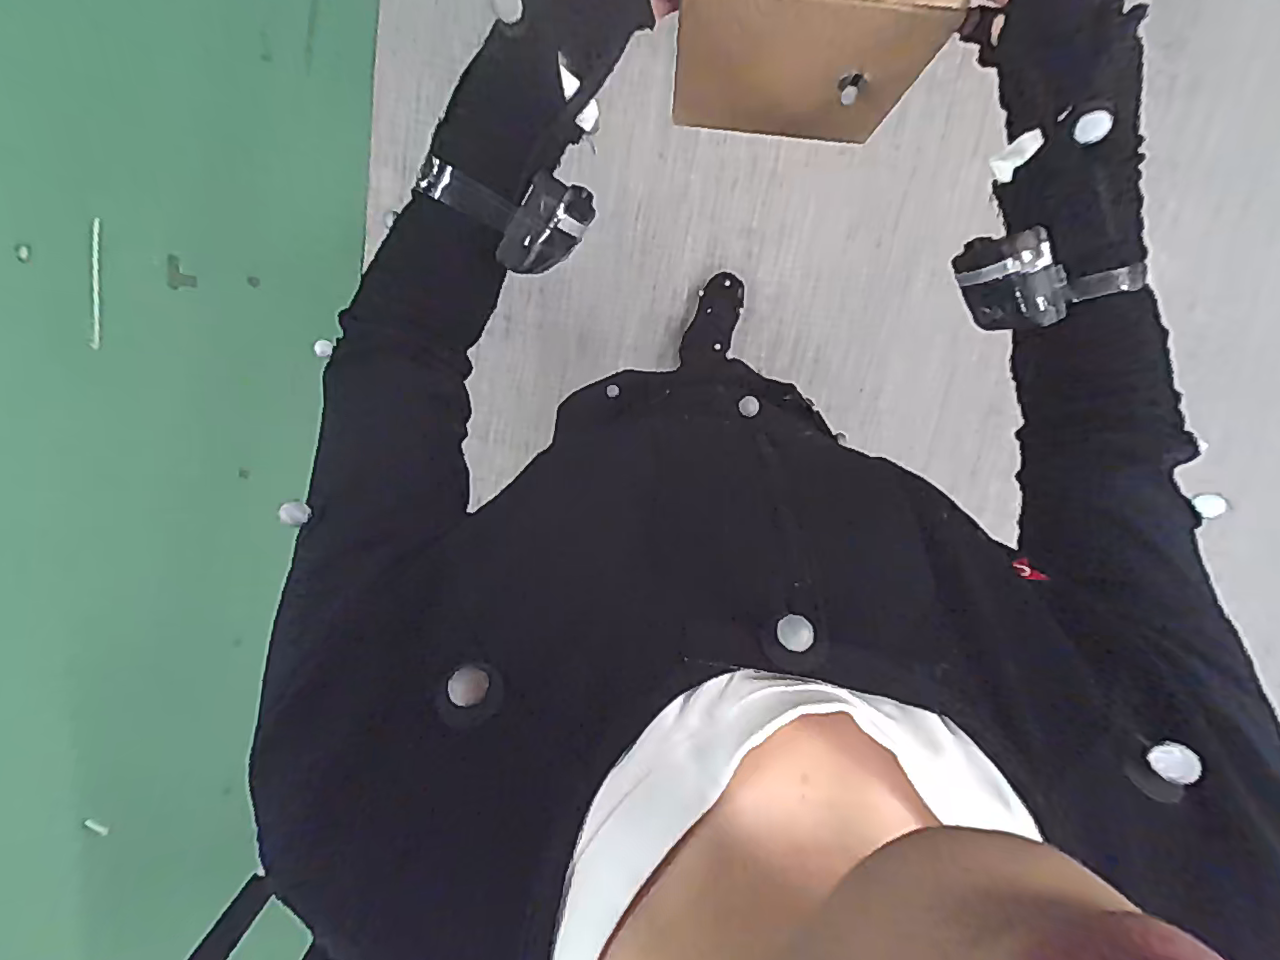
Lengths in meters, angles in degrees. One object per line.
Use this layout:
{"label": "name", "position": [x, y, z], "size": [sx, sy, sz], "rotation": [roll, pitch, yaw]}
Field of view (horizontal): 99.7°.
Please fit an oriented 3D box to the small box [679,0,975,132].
{"label": "small box", "position": [0.127, -0.385, 0.396], "size": [0.179, 0.176, 0.168], "rotation": [5, 96, 1]}
